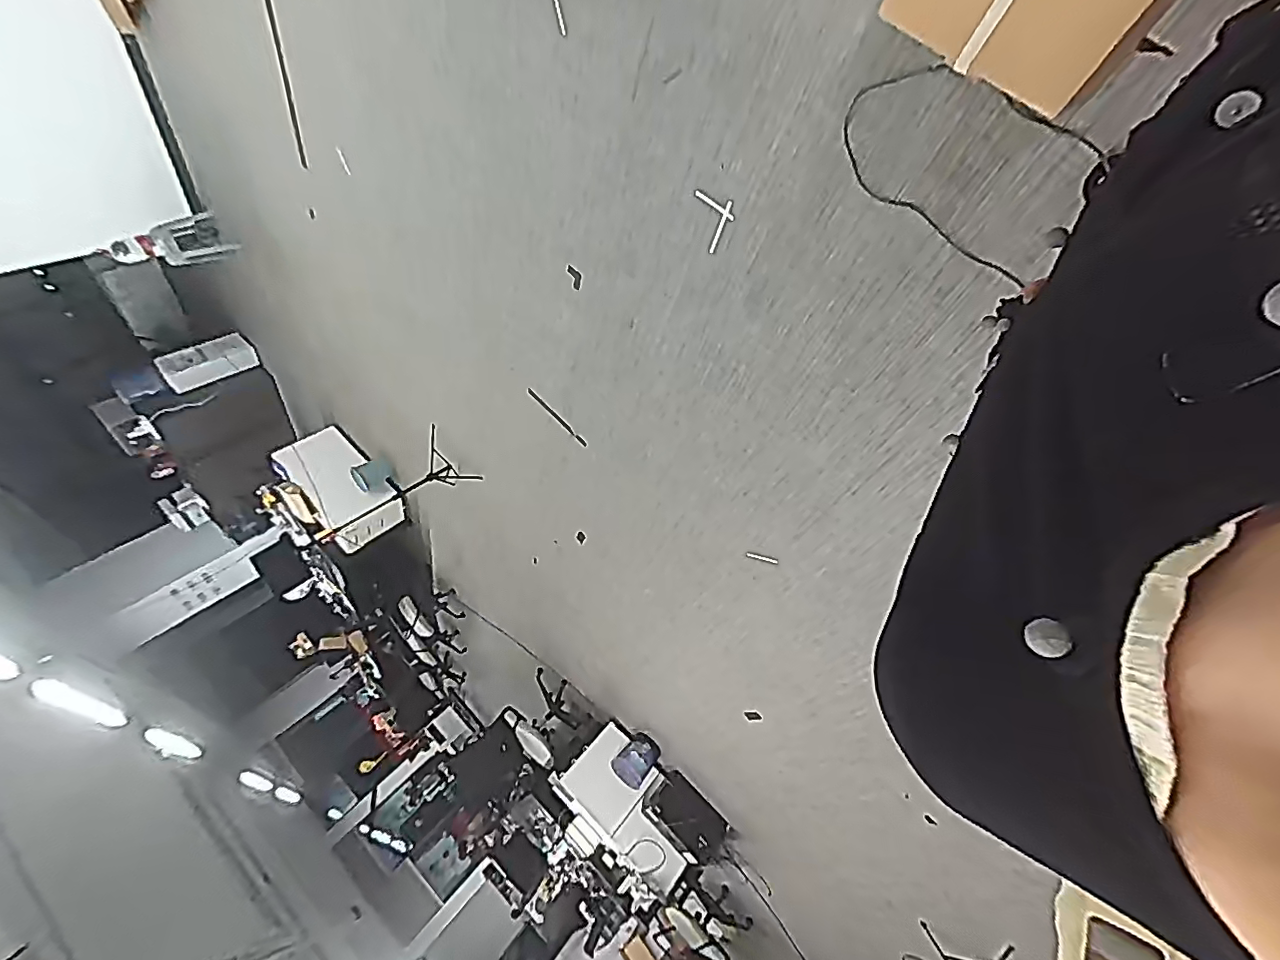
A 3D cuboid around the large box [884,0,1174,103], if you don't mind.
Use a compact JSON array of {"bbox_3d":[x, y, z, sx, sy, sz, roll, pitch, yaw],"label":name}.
[{"bbox_3d":[0.612,-0.787,0.699,0.320,0.320,0.408,43,143,12],"label":"large box"}]
